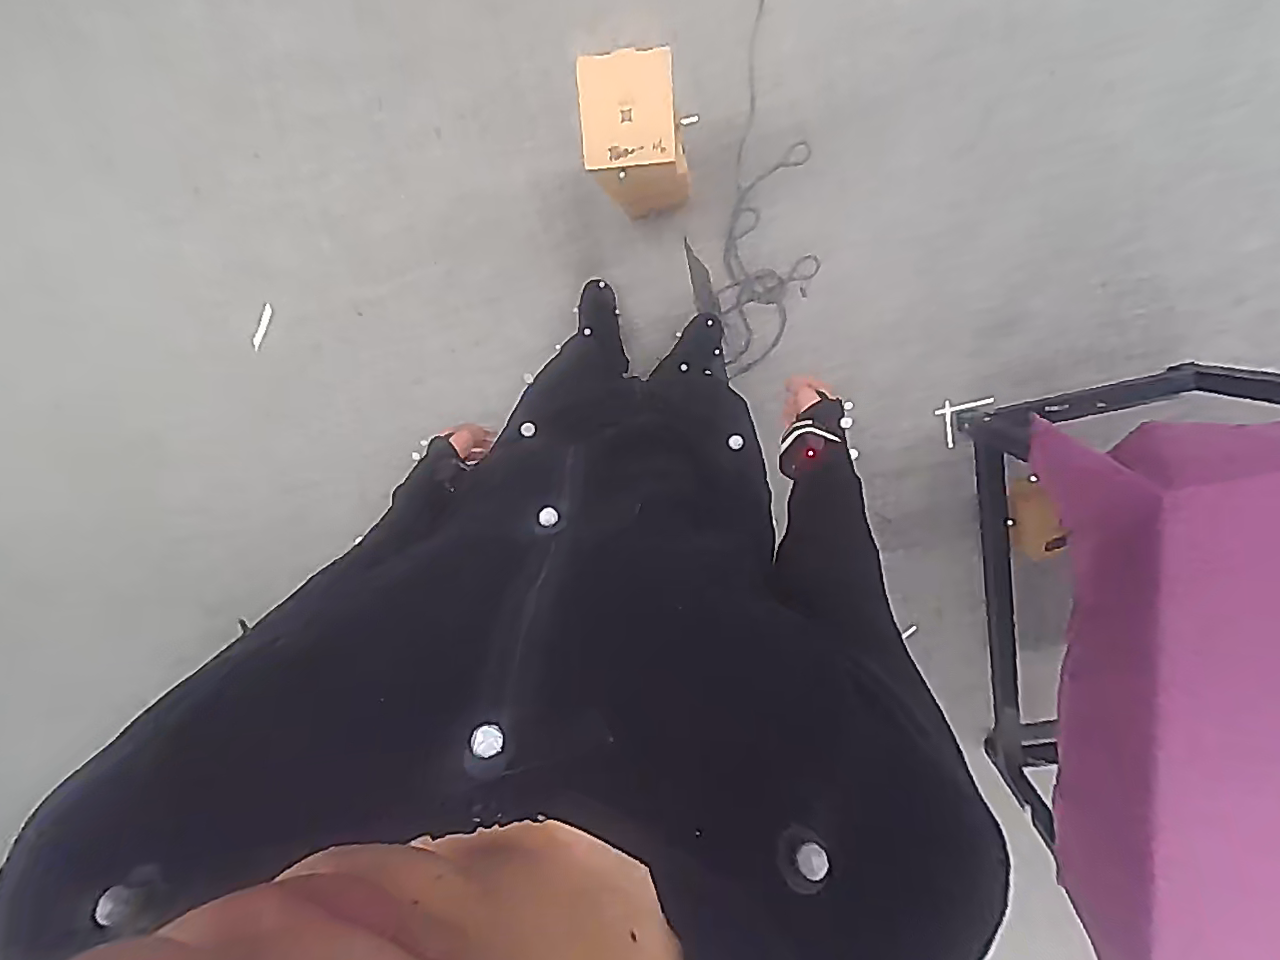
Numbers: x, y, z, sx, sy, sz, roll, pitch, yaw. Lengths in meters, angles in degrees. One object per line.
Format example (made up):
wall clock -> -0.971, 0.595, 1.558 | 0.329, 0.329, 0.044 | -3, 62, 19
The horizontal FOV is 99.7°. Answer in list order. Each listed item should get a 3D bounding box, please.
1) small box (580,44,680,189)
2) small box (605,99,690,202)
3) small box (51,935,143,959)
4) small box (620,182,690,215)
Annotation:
small box -> -0.012, -0.667, 1.012 | 0.168, 0.176, 0.179 | -2, 106, 7
small box -> 0.008, -0.719, 1.167 | 0.179, 0.176, 0.168 | -9, 106, 9
small box -> -1.379, 1.265, 1.332 | 0.179, 0.176, 0.168 | -7, 108, 9
small box -> 0.025, -0.769, 1.320 | 0.168, 0.176, 0.179 | -10, 107, 10
